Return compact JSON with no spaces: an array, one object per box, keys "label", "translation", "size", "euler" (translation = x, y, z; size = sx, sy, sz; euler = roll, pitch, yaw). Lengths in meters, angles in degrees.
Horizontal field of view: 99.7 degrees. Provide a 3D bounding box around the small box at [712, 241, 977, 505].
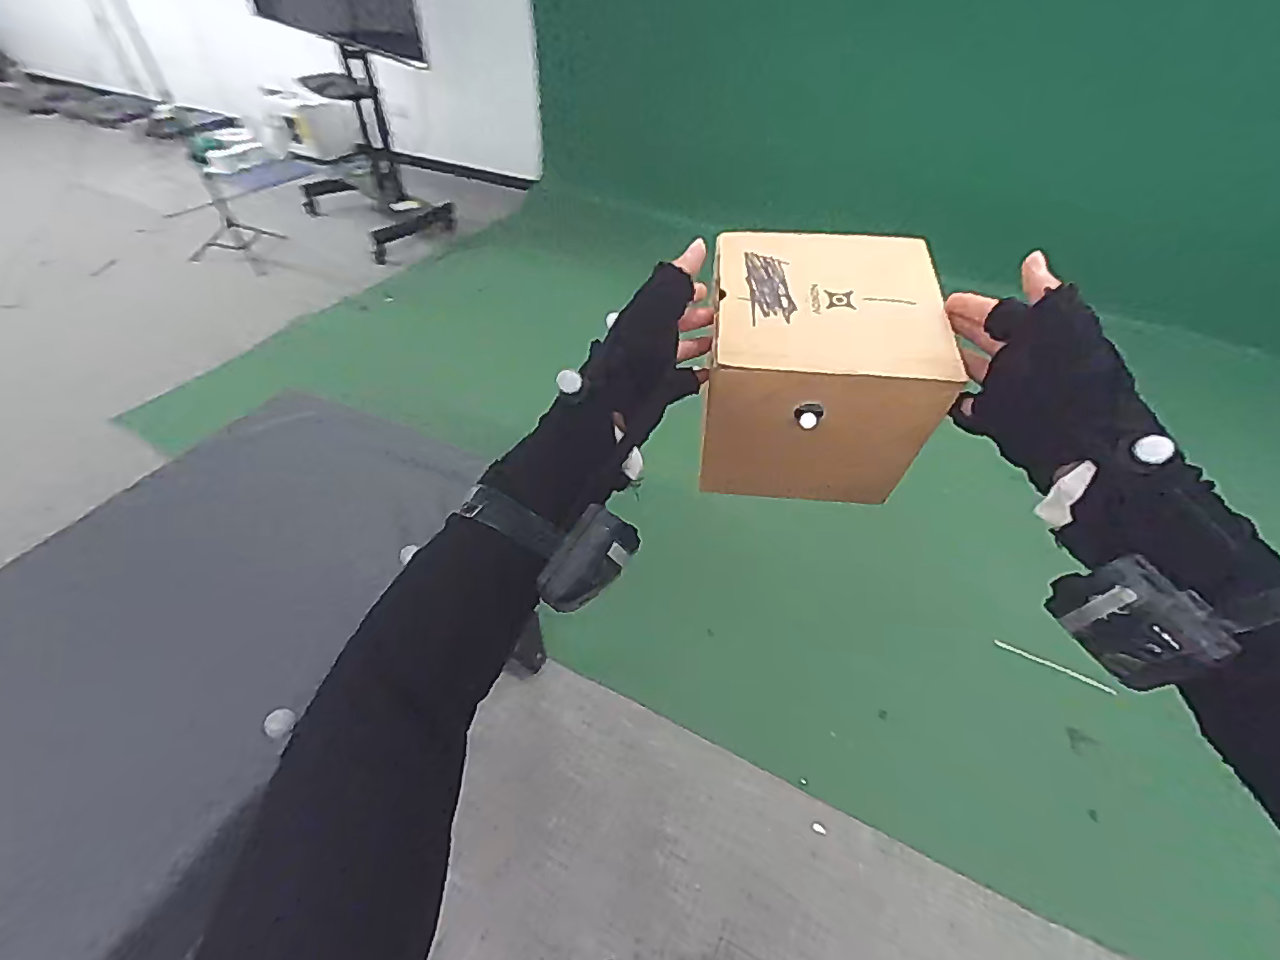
[{"label":"small box","translation":[0.161,-0.091,0.492],"size":[0.179,0.176,0.168],"euler":[5,57,4]}]
